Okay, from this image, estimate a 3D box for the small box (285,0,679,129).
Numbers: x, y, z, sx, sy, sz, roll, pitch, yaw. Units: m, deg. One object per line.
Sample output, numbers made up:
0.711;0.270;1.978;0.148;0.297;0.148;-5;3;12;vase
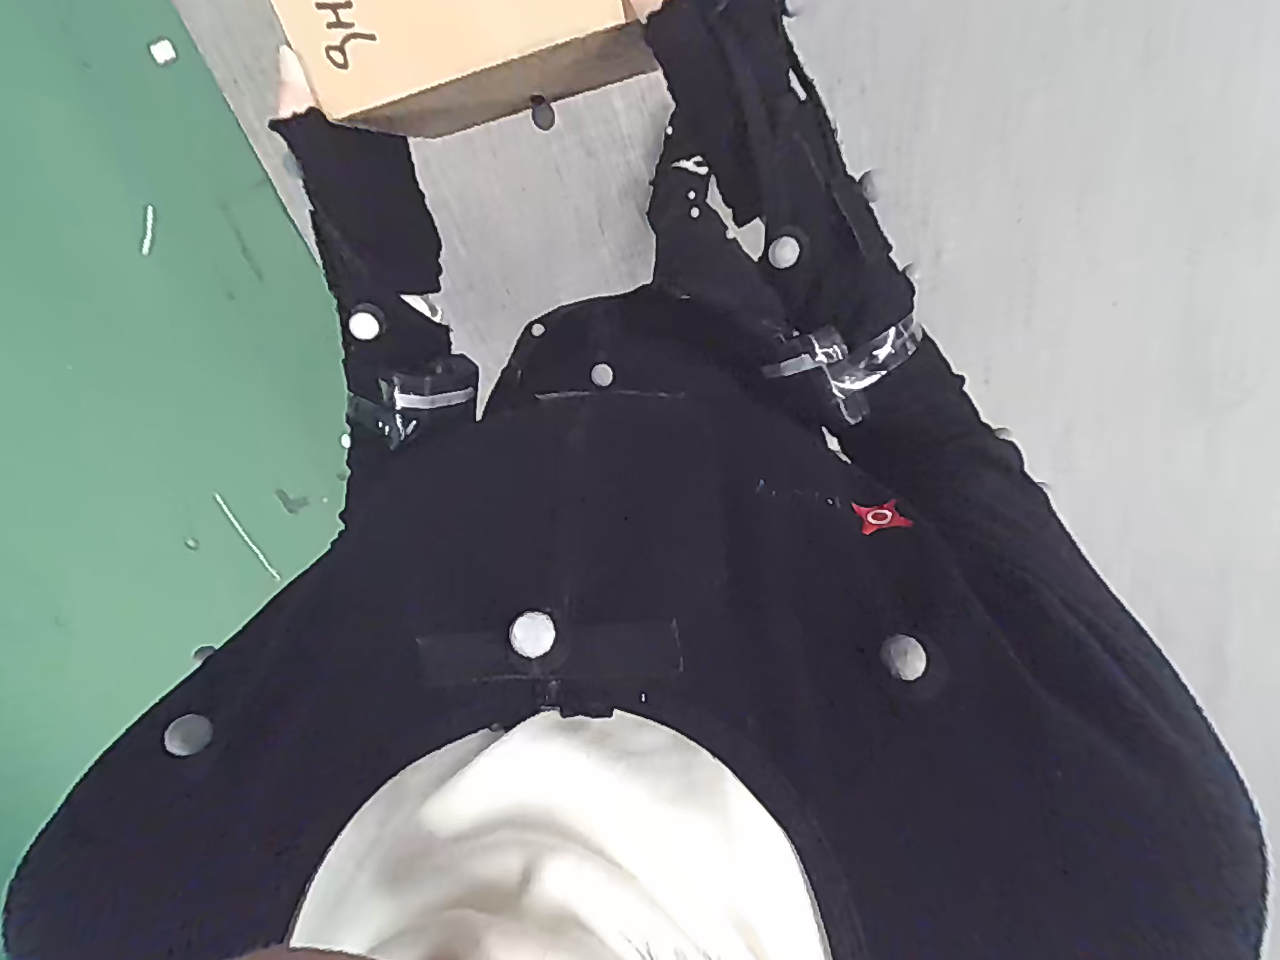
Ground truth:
-0.086;-0.305;0.282;0.179;0.176;0.168;-13;118;6;small box
